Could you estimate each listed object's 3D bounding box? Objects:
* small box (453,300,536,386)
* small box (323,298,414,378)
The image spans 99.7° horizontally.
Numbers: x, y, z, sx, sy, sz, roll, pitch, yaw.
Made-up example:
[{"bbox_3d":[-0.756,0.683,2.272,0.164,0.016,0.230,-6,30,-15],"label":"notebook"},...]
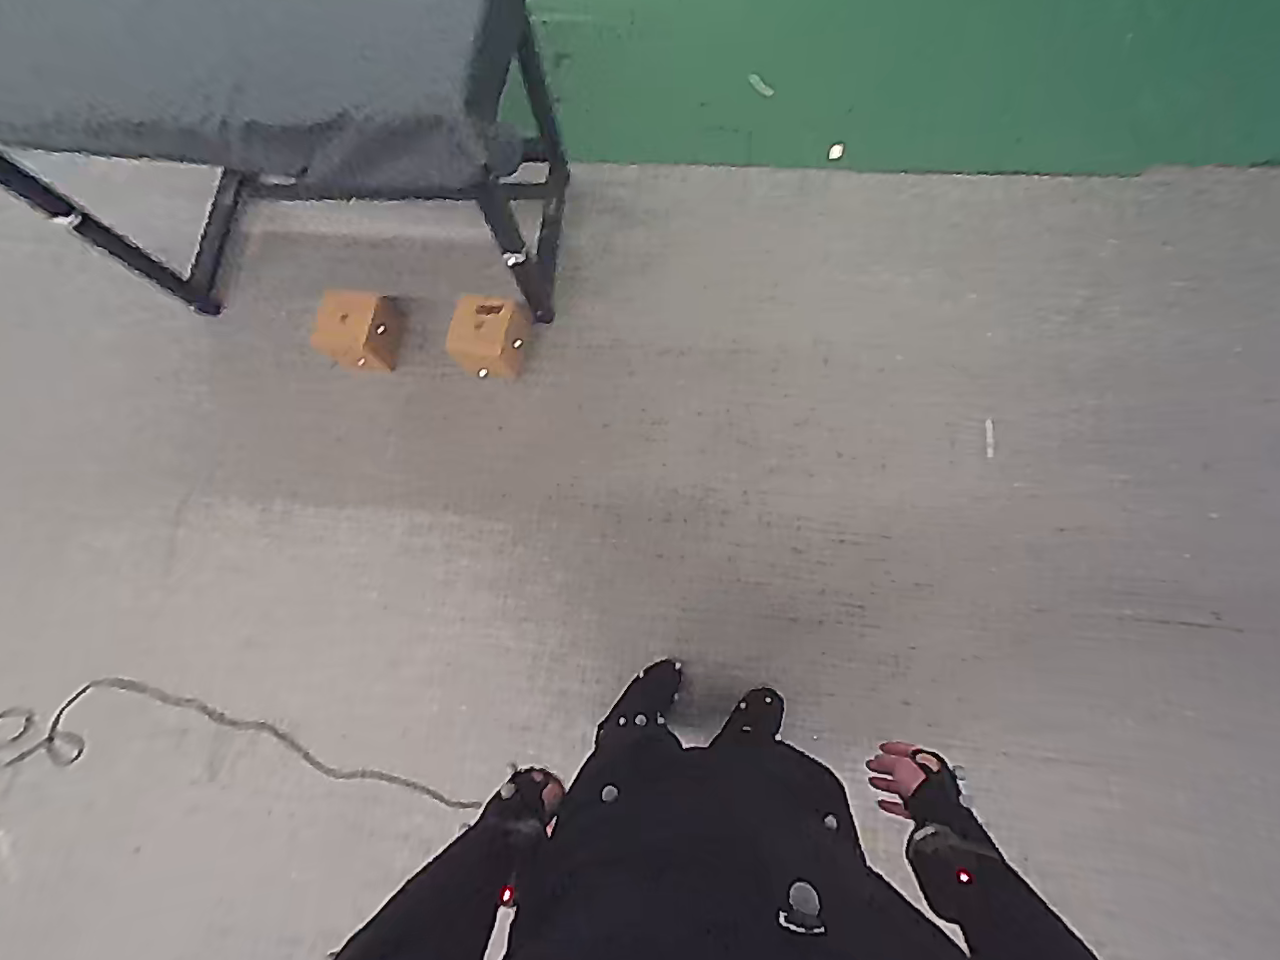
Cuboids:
[{"bbox_3d":[-0.420,-0.401,1.595,0.168,0.176,0.179,10,77,9],"label":"small box"},{"bbox_3d":[-0.818,-0.427,1.647,0.168,0.176,0.179,7,74,6],"label":"small box"}]
